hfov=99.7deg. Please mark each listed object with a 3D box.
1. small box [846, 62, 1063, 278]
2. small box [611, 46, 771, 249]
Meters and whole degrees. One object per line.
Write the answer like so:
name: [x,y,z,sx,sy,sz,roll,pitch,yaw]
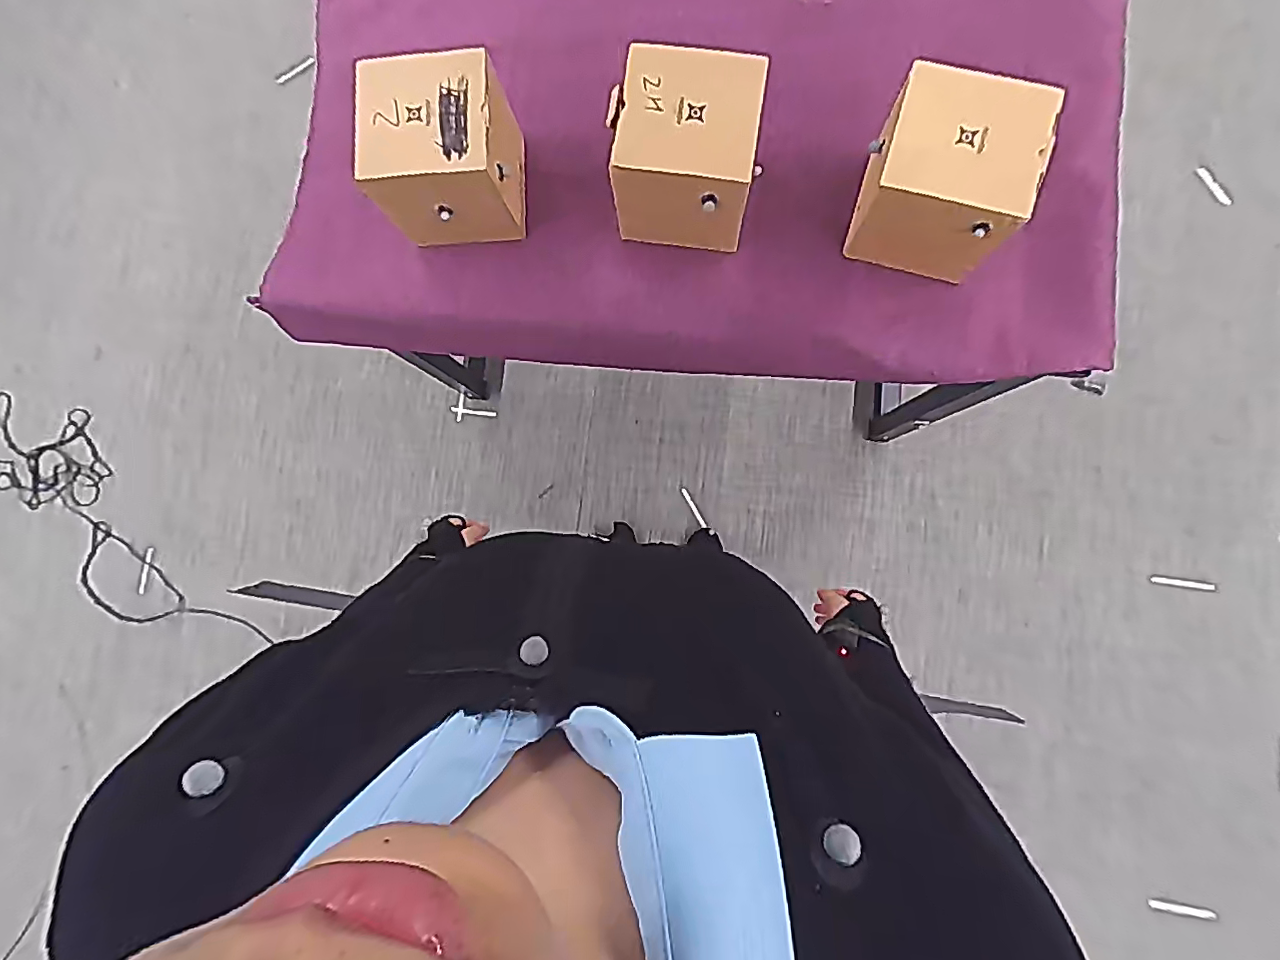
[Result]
small box: [0.393,-0.391,0.710,0.179,0.176,0.168,16,86,6]
small box: [0.067,-0.439,0.739,0.179,0.176,0.168,9,85,5]
